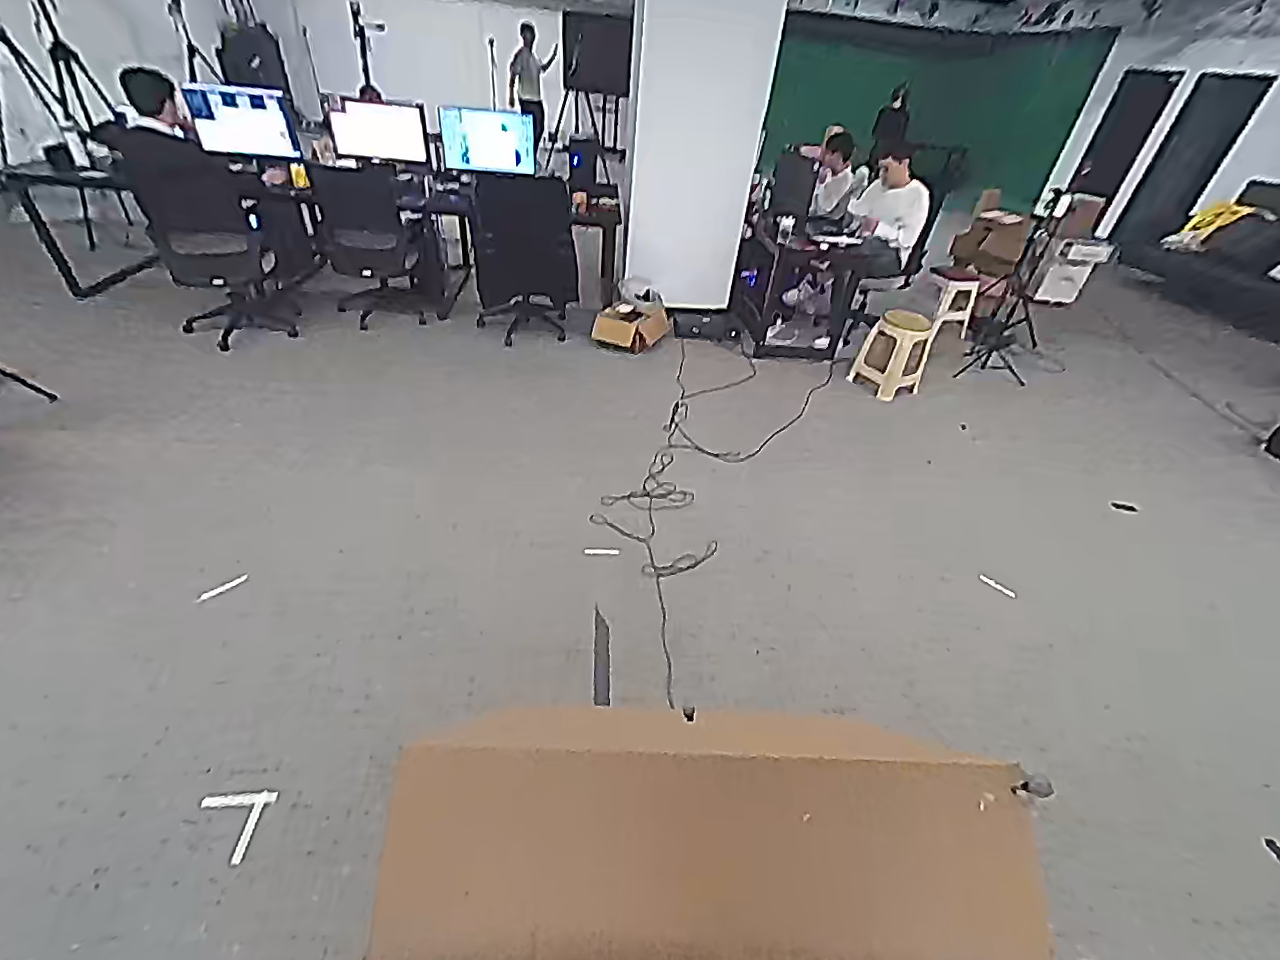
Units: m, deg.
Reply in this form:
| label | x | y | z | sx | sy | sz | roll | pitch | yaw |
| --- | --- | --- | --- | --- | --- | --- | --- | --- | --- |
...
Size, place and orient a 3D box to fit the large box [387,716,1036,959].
| label | x | y | z | sx | sy | sz | roll | pitch | yaw |
| --- | --- | --- | --- | --- | --- | --- | --- | --- | --- |
| large box | 0.041 | 0.380 | 0.460 | 0.408 | 0.320 | 0.320 | 1 | 73 | 1 |
